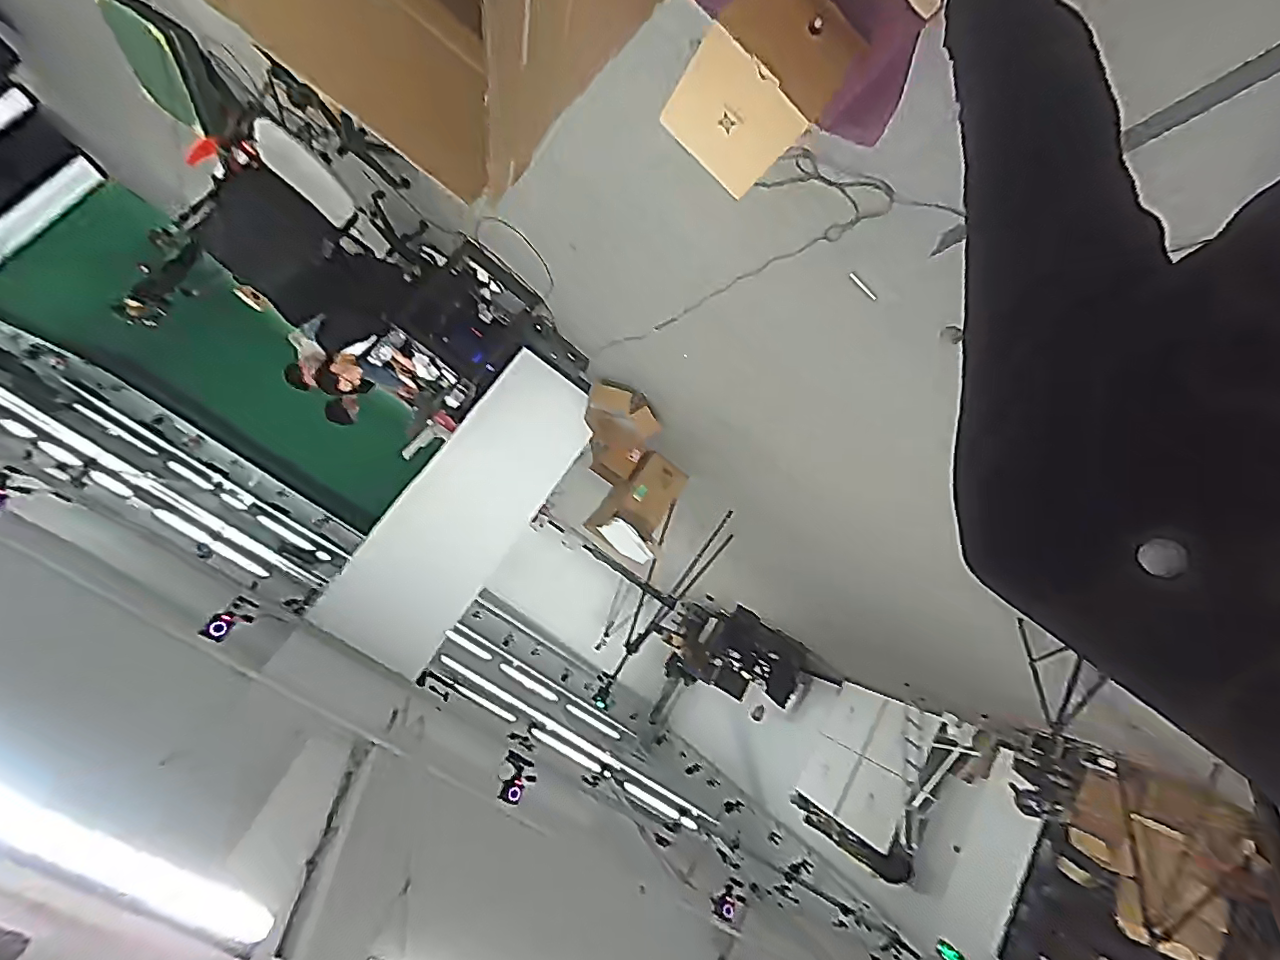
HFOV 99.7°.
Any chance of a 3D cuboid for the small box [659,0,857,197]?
[{"bbox_3d":[0.161,-0.550,0.750,0.168,0.176,0.179,38,163,-14],"label":"small box"}]
